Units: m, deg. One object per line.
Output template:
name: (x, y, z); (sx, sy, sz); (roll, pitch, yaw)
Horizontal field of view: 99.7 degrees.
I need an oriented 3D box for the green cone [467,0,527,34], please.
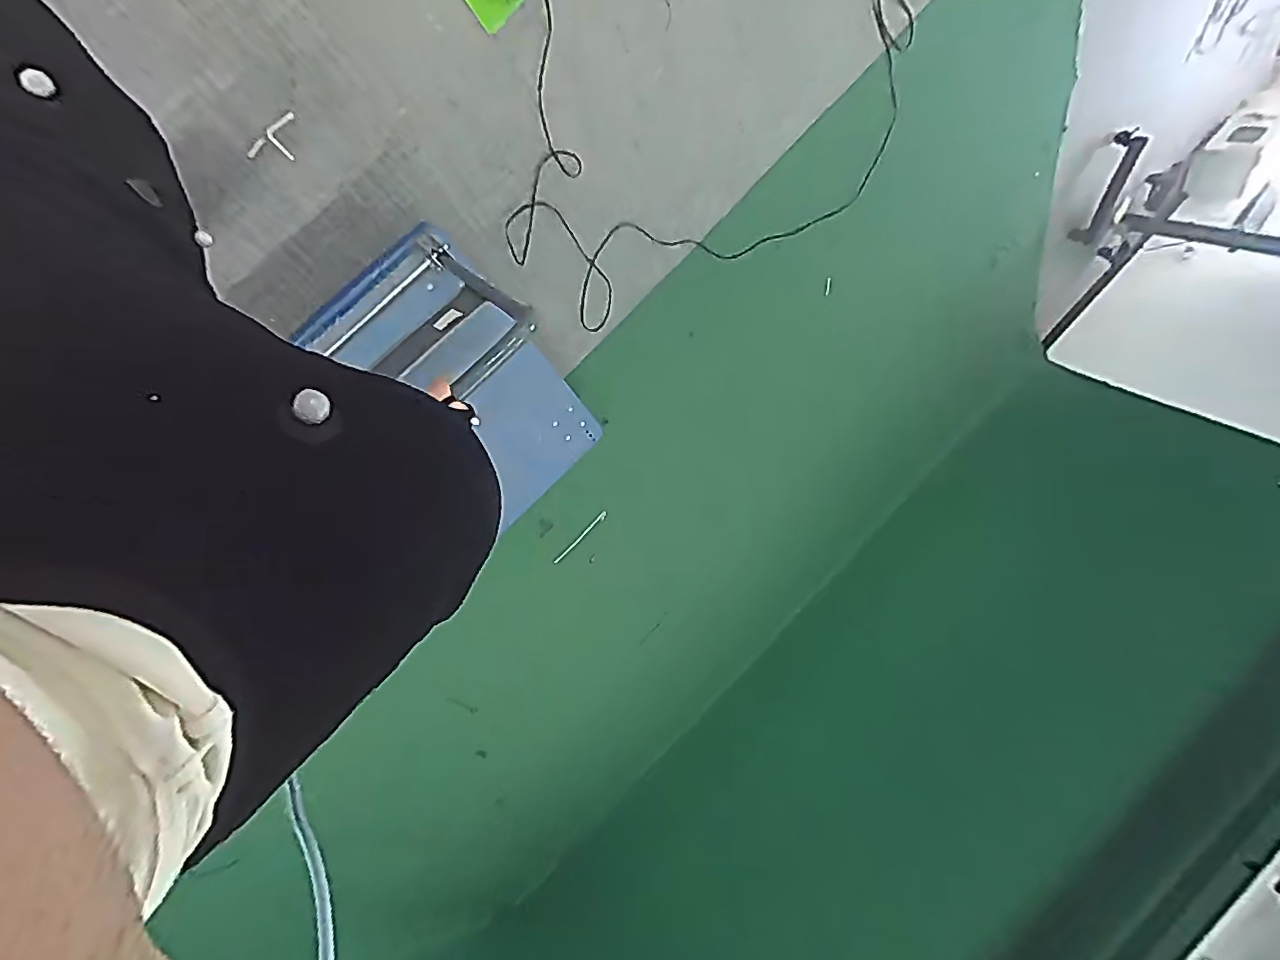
green cone: (-0.232, -1.075, 1.092); (0.202, 0.368, 0.200); (-50, 139, 0)
